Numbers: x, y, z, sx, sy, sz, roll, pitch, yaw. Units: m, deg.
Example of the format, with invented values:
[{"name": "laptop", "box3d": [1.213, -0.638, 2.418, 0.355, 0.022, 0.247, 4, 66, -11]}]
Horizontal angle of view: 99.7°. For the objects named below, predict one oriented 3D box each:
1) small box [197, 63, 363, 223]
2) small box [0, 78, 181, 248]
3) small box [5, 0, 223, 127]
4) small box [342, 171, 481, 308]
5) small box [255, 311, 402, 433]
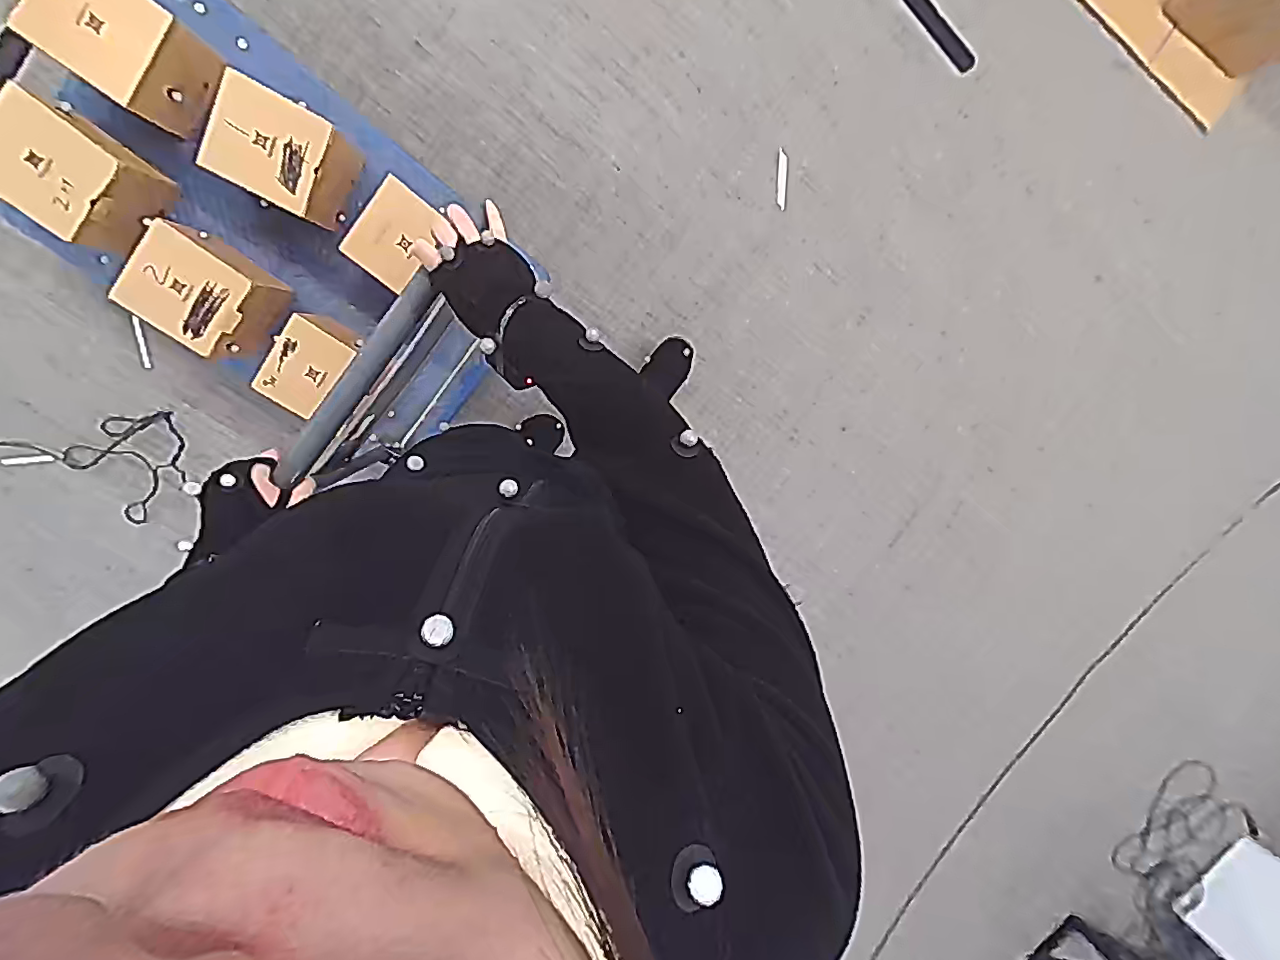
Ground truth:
[{"name": "small box", "box3d": [-0.639, -0.593, 0.984, 0.179, 0.176, 0.168, 24, 100, -14]}, {"name": "small box", "box3d": [-0.974, -0.532, 0.941, 0.179, 0.176, 0.168, 38, 96, -18]}, {"name": "small box", "box3d": [-0.859, -0.735, 0.907, 0.179, 0.176, 0.168, 33, 98, -16]}, {"name": "small box", "box3d": [-0.432, -0.457, 1.059, 0.179, 0.176, 0.168, 37, 96, -16]}, {"name": "small box", "box3d": [-0.612, -0.221, 1.091, 0.179, 0.176, 0.168, 33, 96, -17]}]
